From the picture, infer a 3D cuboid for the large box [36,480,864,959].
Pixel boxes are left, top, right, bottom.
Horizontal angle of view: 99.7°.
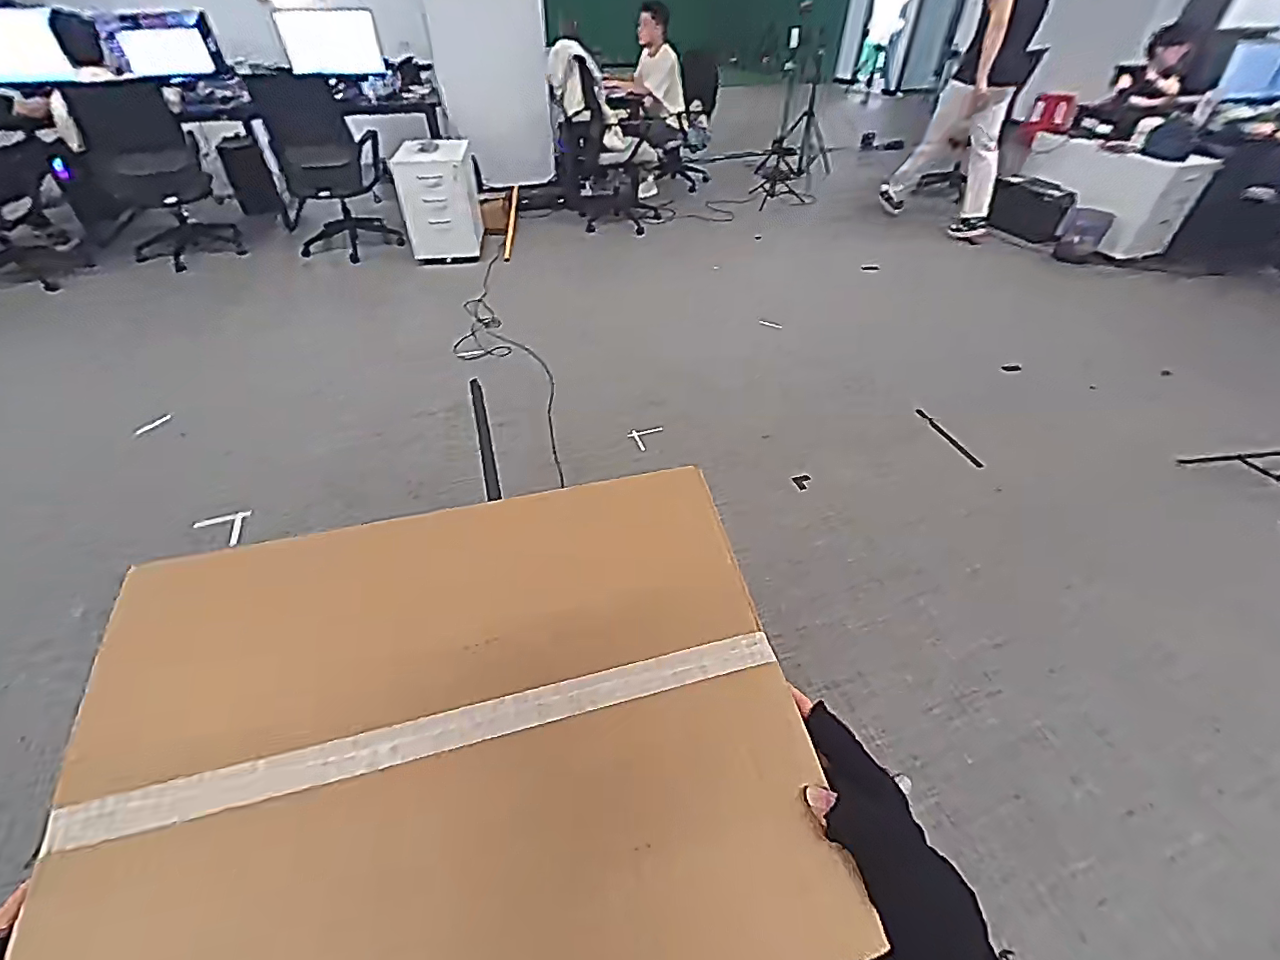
[{"bbox_3d":[-0.115,0.242,0.446,0.408,0.320,0.320,-11,55,-10],"label":"large box"}]
